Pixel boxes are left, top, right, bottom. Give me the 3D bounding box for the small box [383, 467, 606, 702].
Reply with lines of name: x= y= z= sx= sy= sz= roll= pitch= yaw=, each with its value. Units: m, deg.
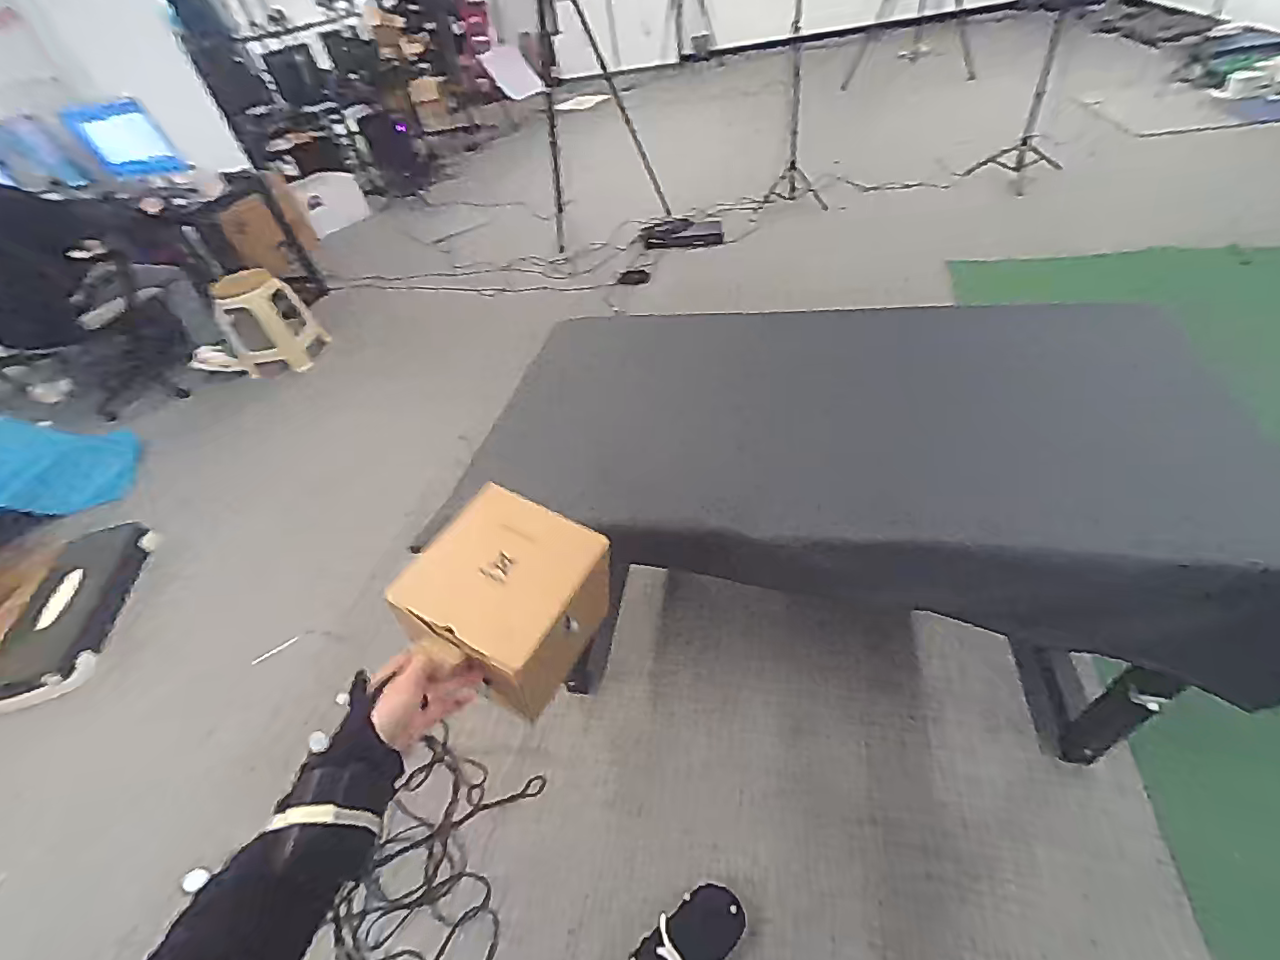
small box: x=-0.148 y=0.123 z=0.621 sx=0.168 sy=0.176 sz=0.179 roll=23 pitch=53 yaw=15
